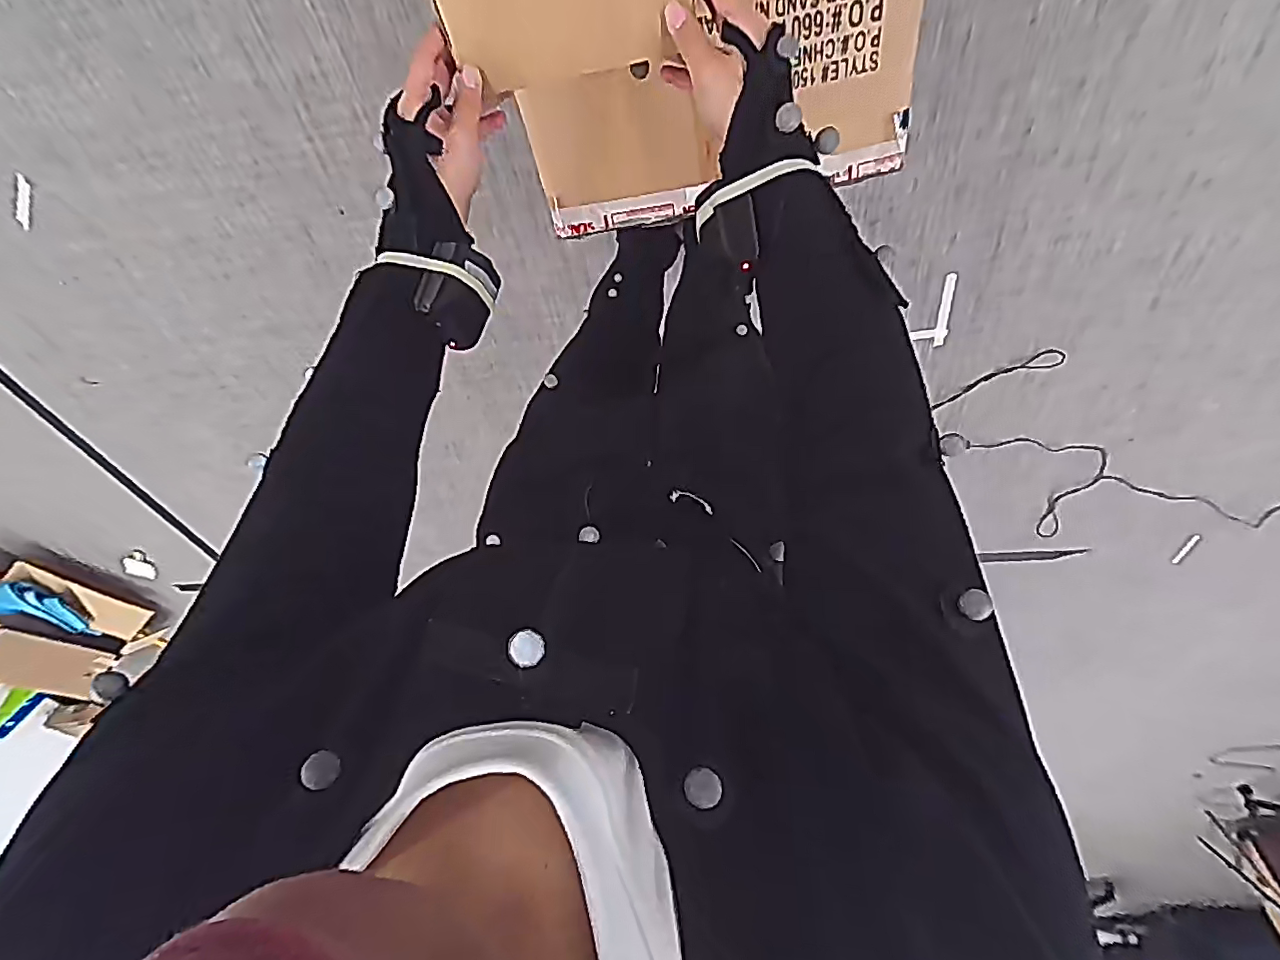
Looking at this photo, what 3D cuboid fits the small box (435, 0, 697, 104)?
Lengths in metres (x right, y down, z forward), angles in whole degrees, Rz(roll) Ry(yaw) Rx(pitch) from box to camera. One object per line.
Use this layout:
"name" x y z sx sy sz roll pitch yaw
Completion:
"small box" -0.054 -0.407 0.392 0.179 0.176 0.168 -4 137 10
